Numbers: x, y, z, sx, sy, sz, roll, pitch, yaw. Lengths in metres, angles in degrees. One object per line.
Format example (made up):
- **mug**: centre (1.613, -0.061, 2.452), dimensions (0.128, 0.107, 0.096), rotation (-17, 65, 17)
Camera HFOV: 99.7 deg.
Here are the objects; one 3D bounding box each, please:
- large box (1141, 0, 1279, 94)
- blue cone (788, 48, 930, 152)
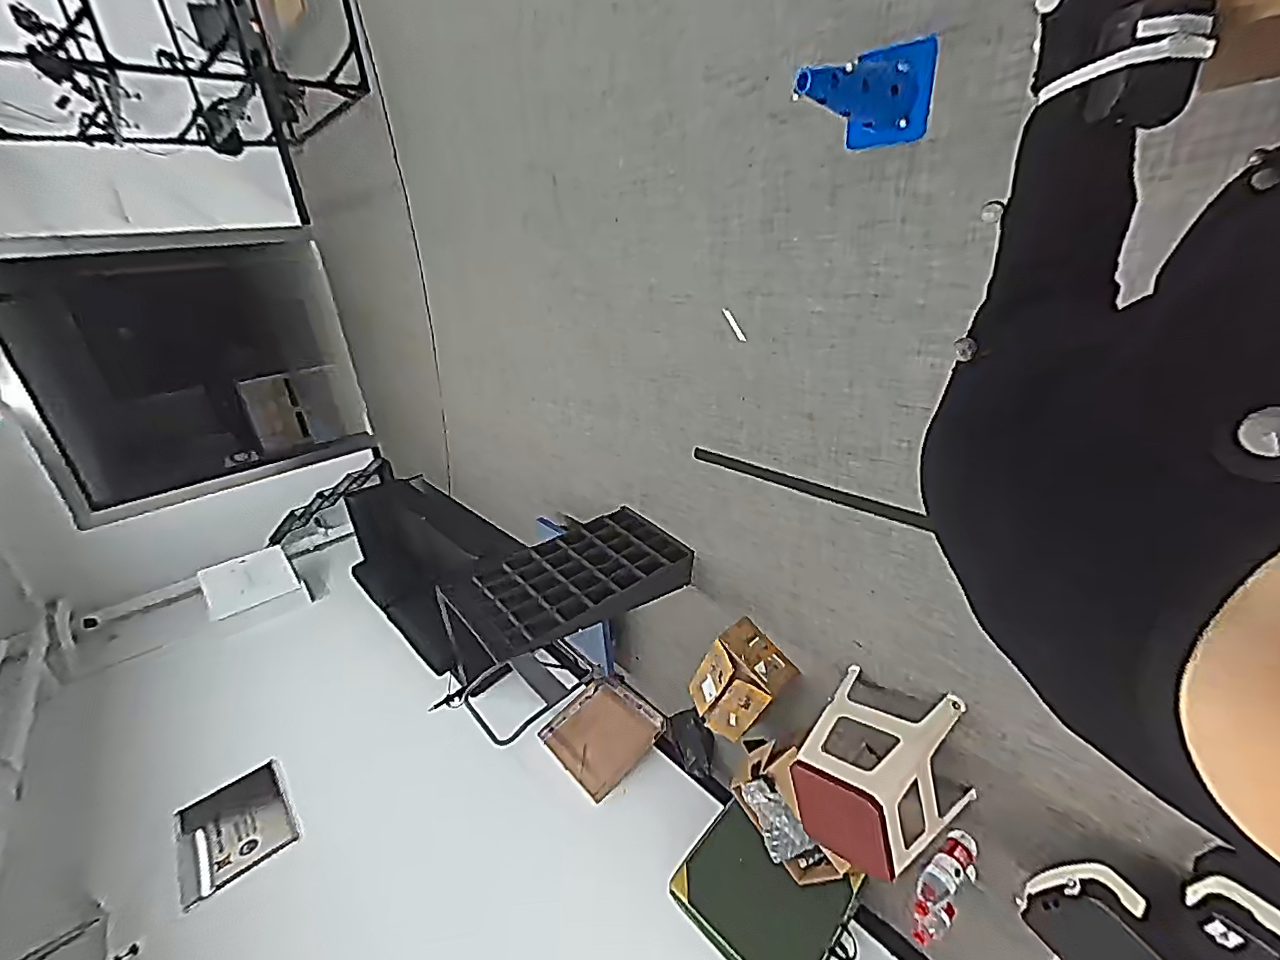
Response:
- **large box**: centre (0.561, -0.447, 0.265), dimensions (0.408, 0.320, 0.320), rotation (16, 121, 45)
- **blue cone**: centre (0.465, -0.855, 1.202), dimensions (0.192, 0.380, 0.193), rotation (26, 128, 44)
